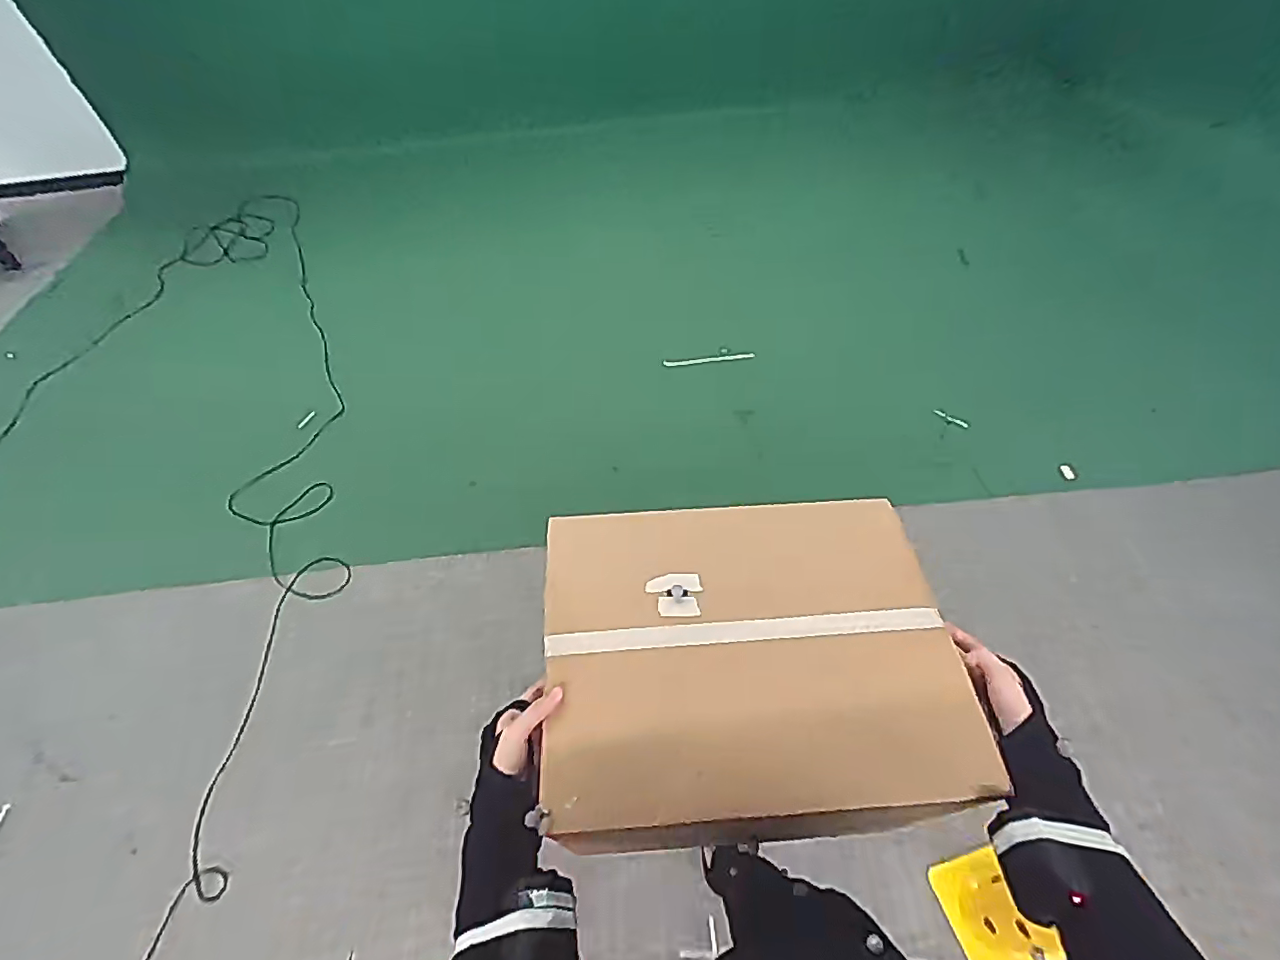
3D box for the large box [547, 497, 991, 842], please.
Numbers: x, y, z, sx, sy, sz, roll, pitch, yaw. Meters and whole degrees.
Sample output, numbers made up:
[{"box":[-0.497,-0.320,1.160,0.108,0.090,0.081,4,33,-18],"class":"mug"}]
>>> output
[{"box":[0.110,0.247,0.679,0.408,0.320,0.320,-4,52,-2],"class":"large box"}]
